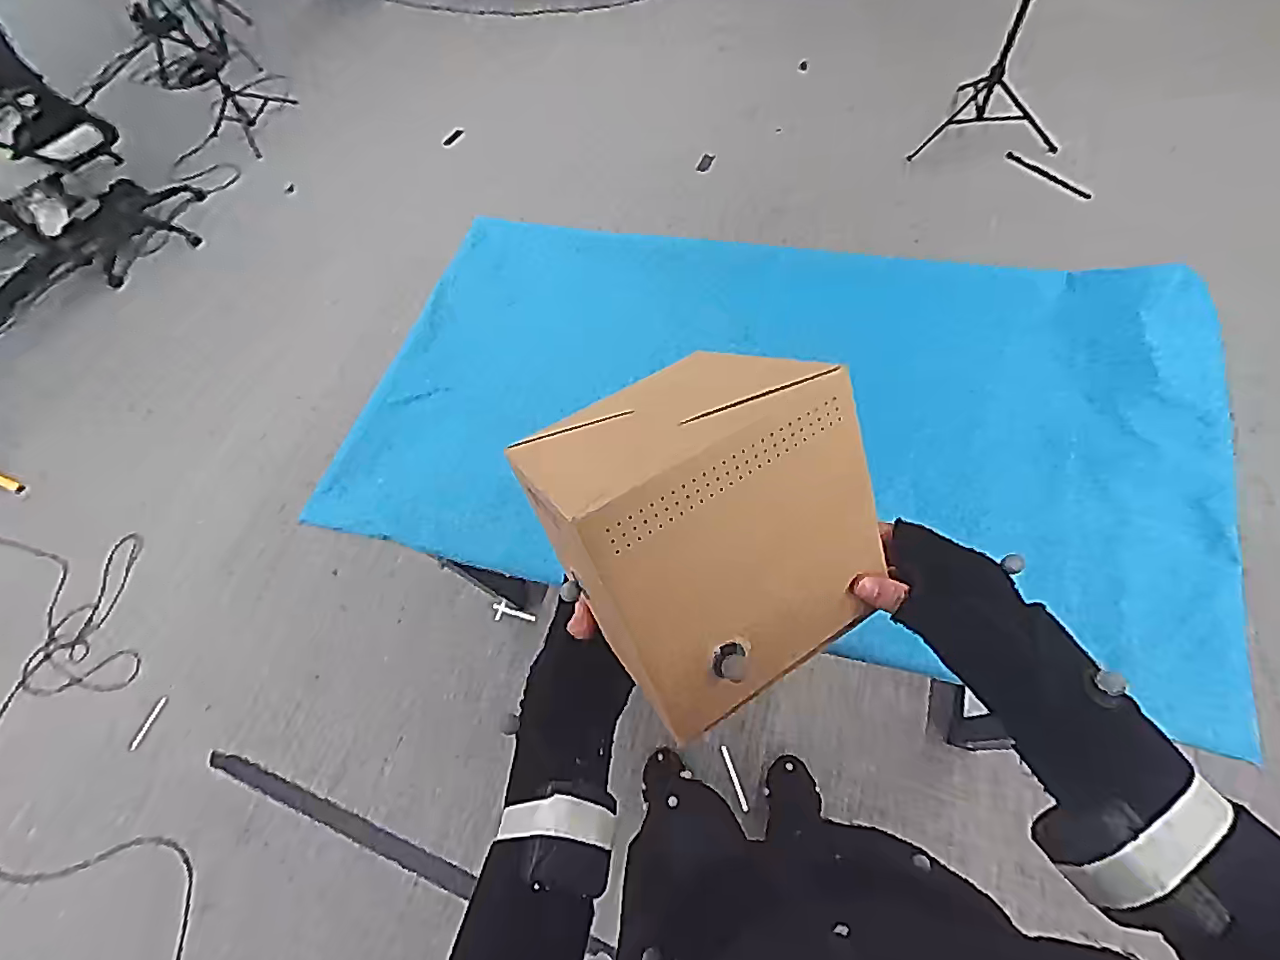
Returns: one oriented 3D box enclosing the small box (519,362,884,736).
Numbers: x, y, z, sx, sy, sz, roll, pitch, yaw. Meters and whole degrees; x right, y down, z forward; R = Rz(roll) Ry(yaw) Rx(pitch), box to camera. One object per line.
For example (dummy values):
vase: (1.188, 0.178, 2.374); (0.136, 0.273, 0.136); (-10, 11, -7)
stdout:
small box: (0.036, 0.028, 0.385); (0.179, 0.176, 0.168); (-29, 26, -16)
